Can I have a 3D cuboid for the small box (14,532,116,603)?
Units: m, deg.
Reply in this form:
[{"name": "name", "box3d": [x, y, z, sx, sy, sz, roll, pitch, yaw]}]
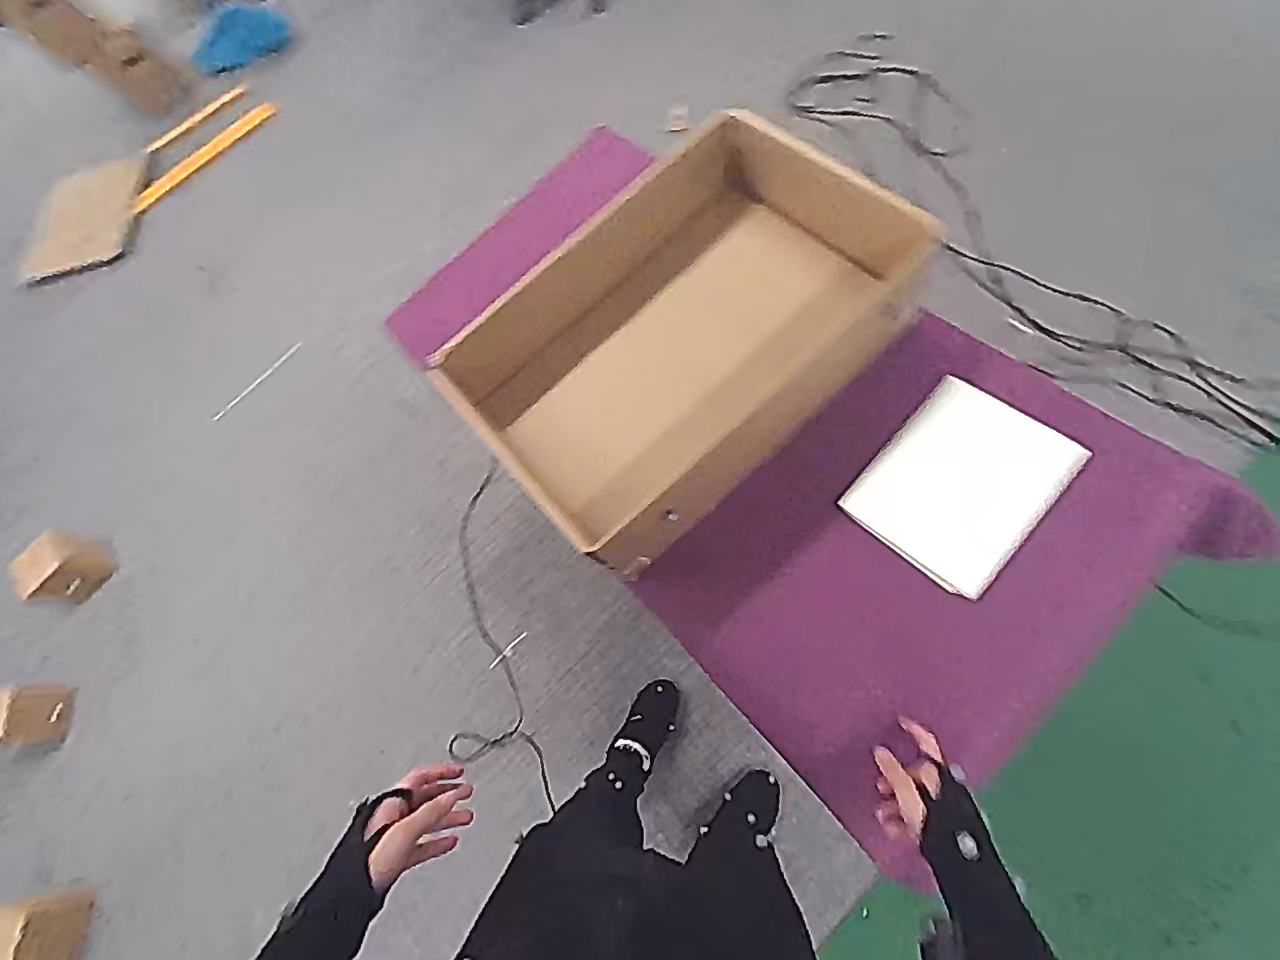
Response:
[{"name": "small box", "box3d": [-2.007, 0.314, 1.896, 0.179, 0.176, 0.168, 40, 82, 23]}]
